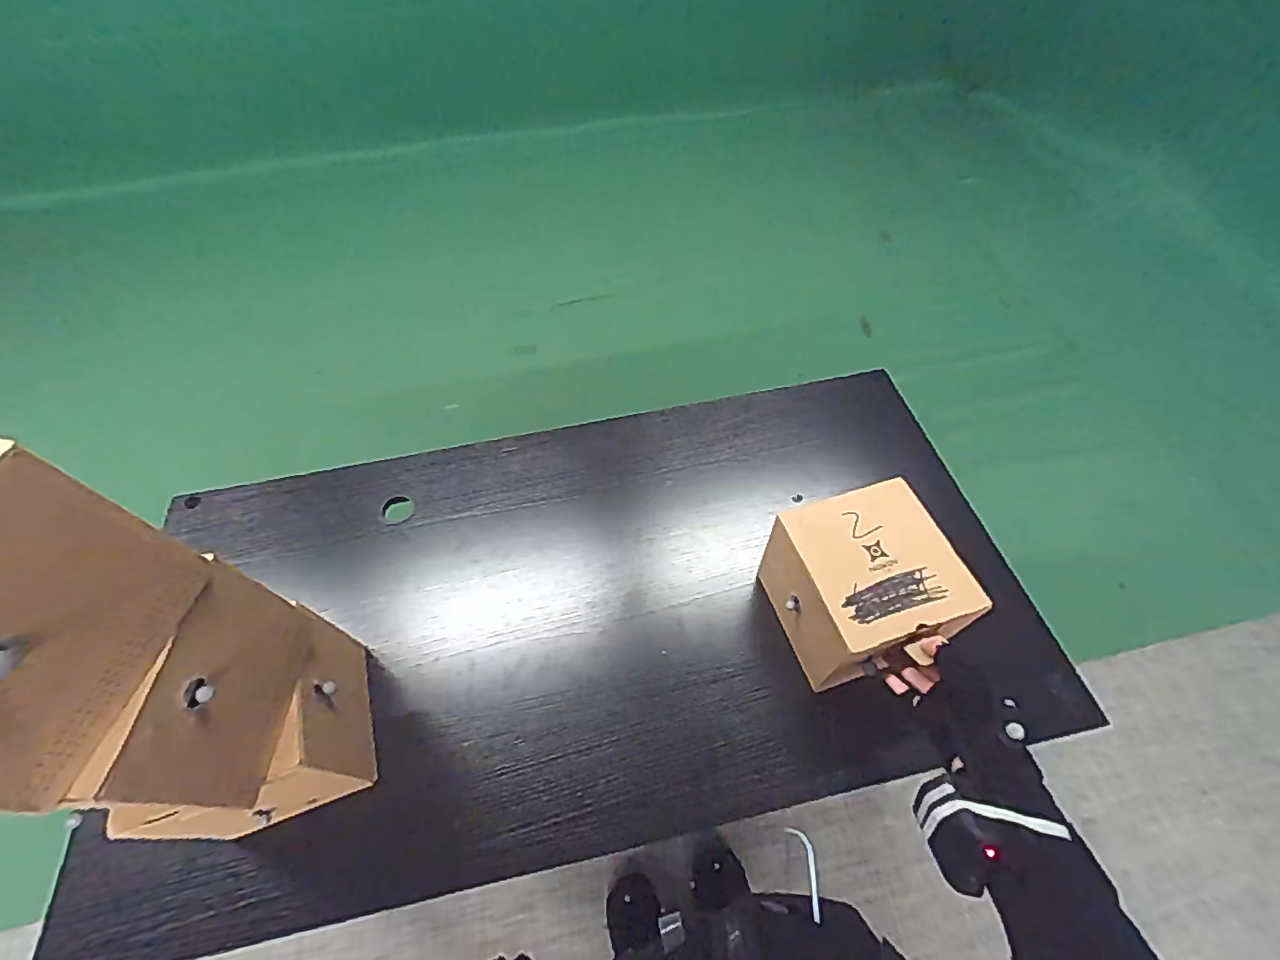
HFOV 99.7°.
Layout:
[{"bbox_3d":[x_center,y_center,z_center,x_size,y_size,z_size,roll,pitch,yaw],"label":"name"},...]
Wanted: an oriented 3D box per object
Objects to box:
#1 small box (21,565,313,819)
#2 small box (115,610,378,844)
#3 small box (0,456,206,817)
[{"bbox_3d":[-0.421,0.186,0.462,0.168,0.176,0.179,0,57,1],"label":"small box"},{"bbox_3d":[-0.413,0.275,0.600,0.168,0.176,0.179,-18,59,-10],"label":"small box"},{"bbox_3d":[-0.428,0.091,0.328,0.168,0.176,0.179,9,59,6],"label":"small box"}]
